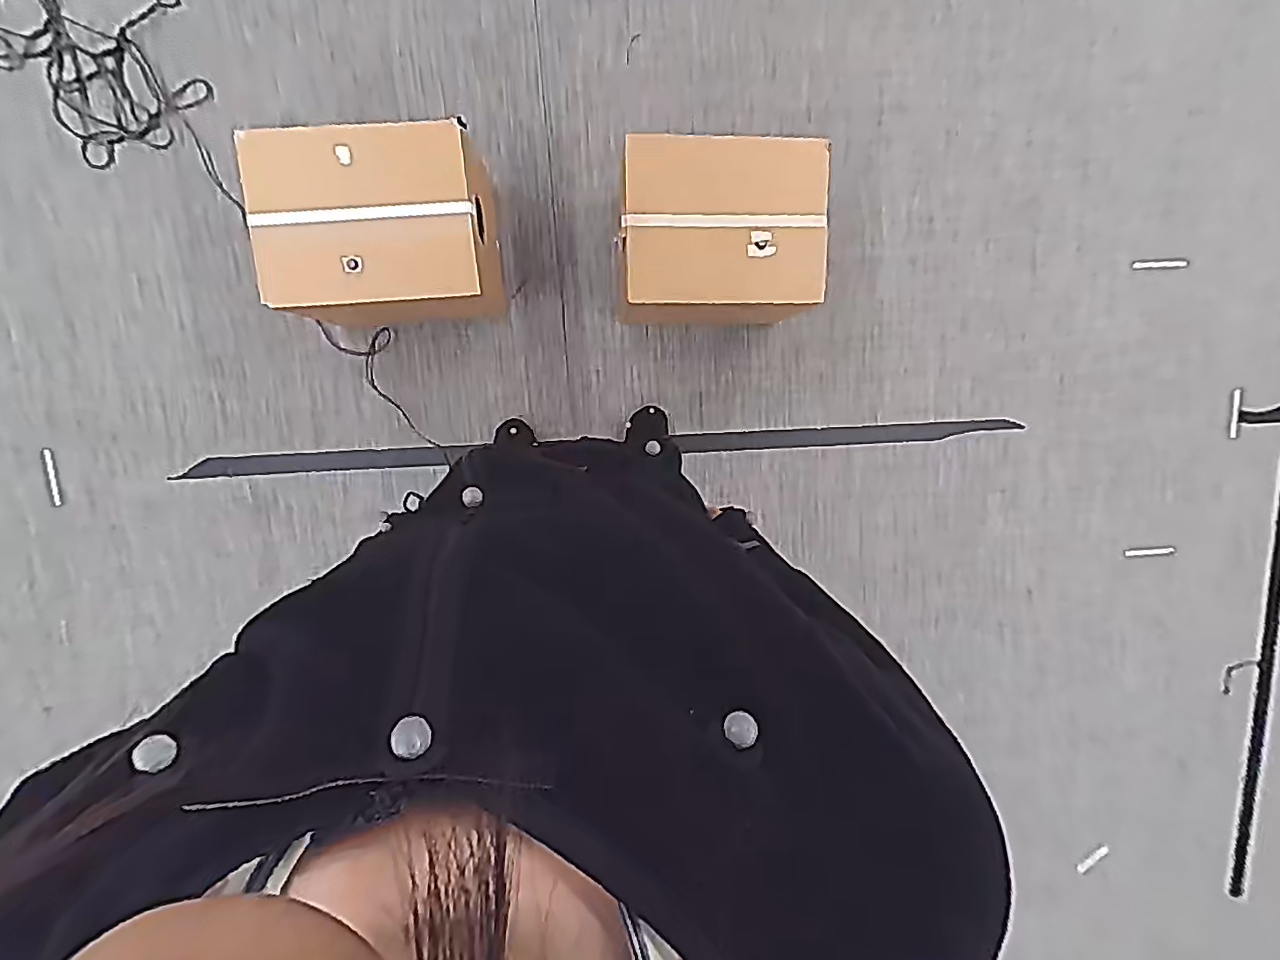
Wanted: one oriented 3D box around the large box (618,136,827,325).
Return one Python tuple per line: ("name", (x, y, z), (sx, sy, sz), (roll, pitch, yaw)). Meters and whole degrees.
("large box", (0.162, -0.534, 1.220), (0.408, 0.320, 0.320), (-1, 99, -5))
